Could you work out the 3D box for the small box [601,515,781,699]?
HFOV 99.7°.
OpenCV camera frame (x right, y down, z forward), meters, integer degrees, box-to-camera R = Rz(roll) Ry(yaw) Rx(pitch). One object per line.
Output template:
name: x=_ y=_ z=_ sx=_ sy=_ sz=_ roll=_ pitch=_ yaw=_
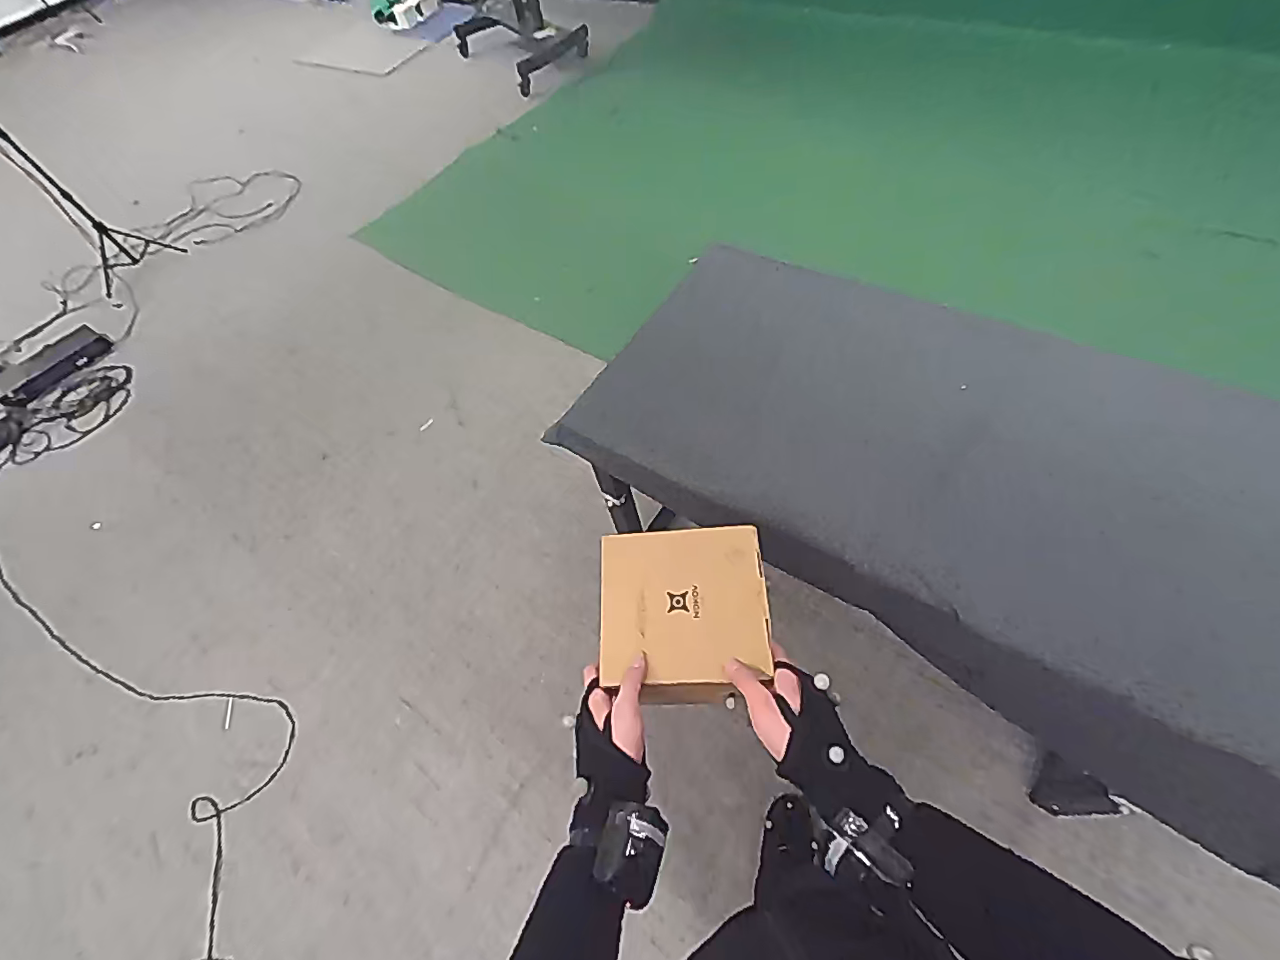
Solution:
small box: x=0.057 y=0.154 z=0.626 sx=0.179 sy=0.176 sz=0.168 roll=-5 pitch=59 yaw=6
